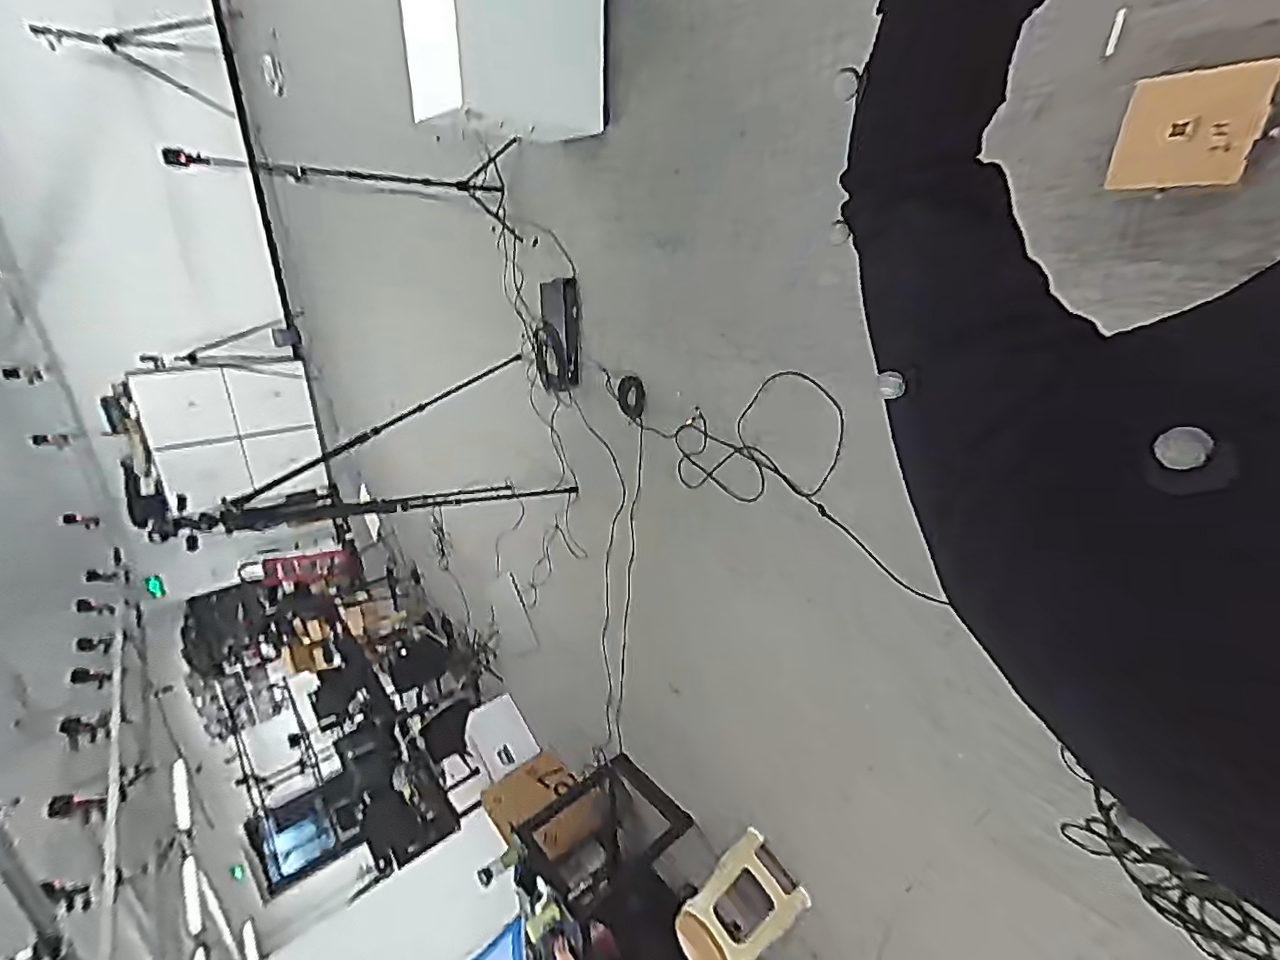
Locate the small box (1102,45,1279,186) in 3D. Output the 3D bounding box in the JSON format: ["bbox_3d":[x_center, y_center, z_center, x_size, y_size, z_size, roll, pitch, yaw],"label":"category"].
[{"bbox_3d":[0.940,-0.604,0.920,0.179,0.176,0.168,24,123,42],"label":"small box"}]
